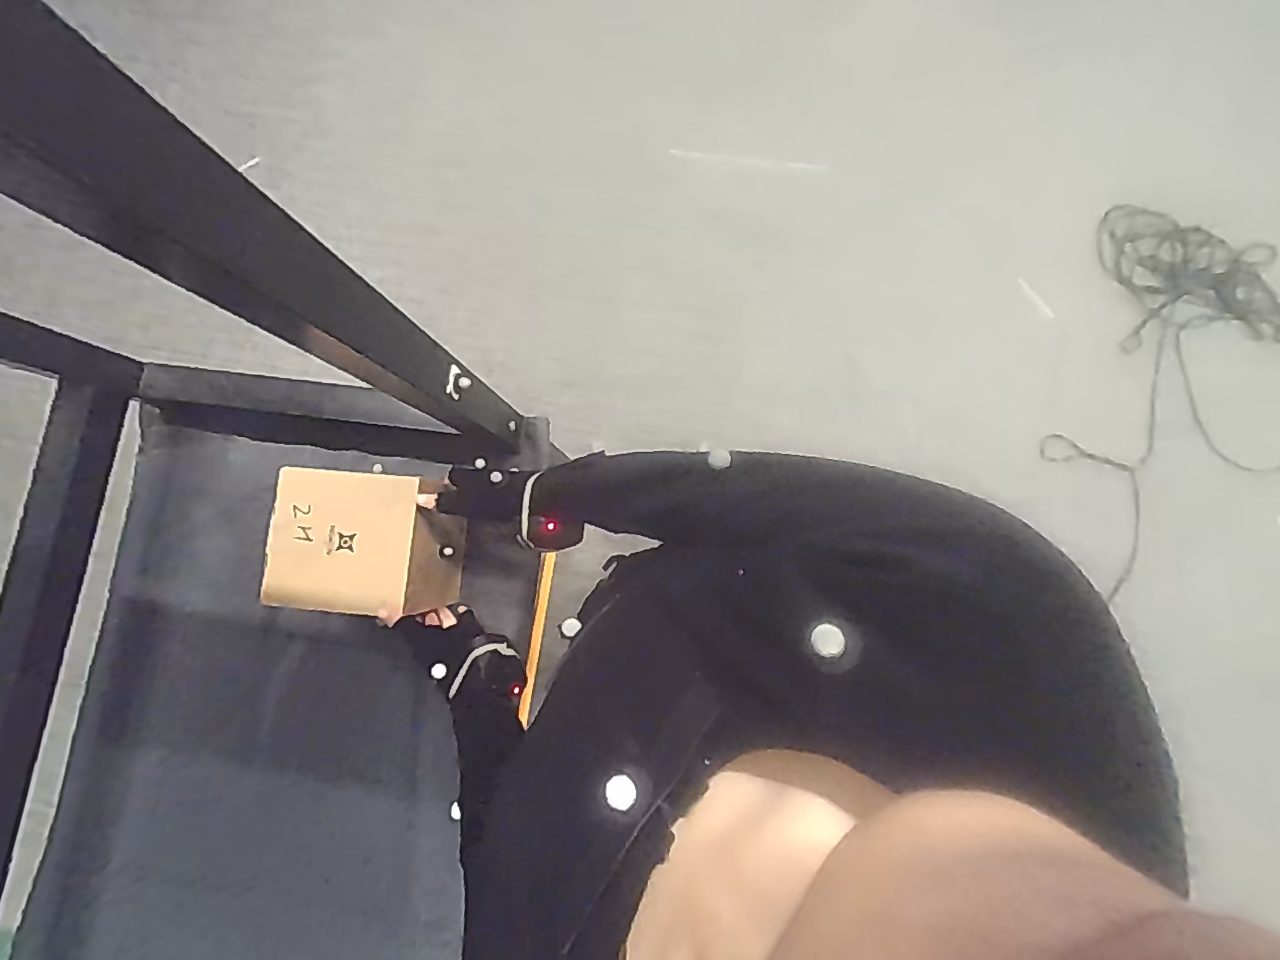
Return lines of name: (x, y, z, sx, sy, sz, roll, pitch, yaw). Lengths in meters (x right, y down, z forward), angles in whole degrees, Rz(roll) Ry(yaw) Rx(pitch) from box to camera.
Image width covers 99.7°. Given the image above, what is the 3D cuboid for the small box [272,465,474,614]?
small box: (-0.337, 0.077, 0.718, 0.179, 0.176, 0.168, 4, 84, 5)
